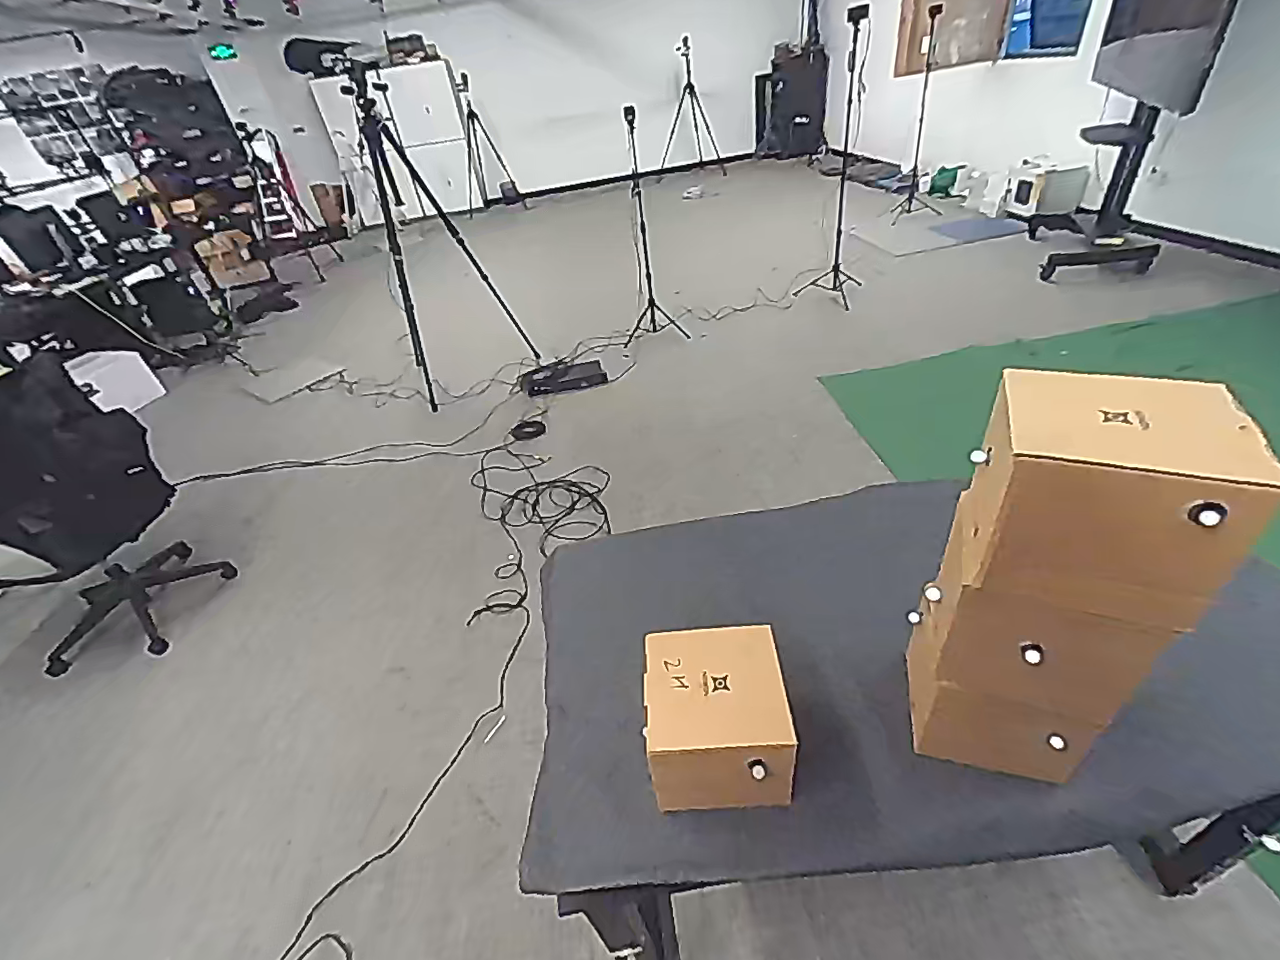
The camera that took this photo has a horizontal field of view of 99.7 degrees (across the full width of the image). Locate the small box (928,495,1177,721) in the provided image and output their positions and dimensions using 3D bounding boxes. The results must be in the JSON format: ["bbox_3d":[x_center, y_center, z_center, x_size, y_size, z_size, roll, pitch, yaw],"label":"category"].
[{"bbox_3d":[0.446,0.144,0.617,0.179,0.176,0.168,10,40,25],"label":"small box"}]

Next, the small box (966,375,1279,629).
[{"bbox_3d":[0.428,0.016,0.519,0.179,0.176,0.168,10,40,24],"label":"small box"}]

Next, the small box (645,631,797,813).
[{"bbox_3d":[0.102,0.326,0.728,0.179,0.176,0.168,-6,38,5],"label":"small box"}]
